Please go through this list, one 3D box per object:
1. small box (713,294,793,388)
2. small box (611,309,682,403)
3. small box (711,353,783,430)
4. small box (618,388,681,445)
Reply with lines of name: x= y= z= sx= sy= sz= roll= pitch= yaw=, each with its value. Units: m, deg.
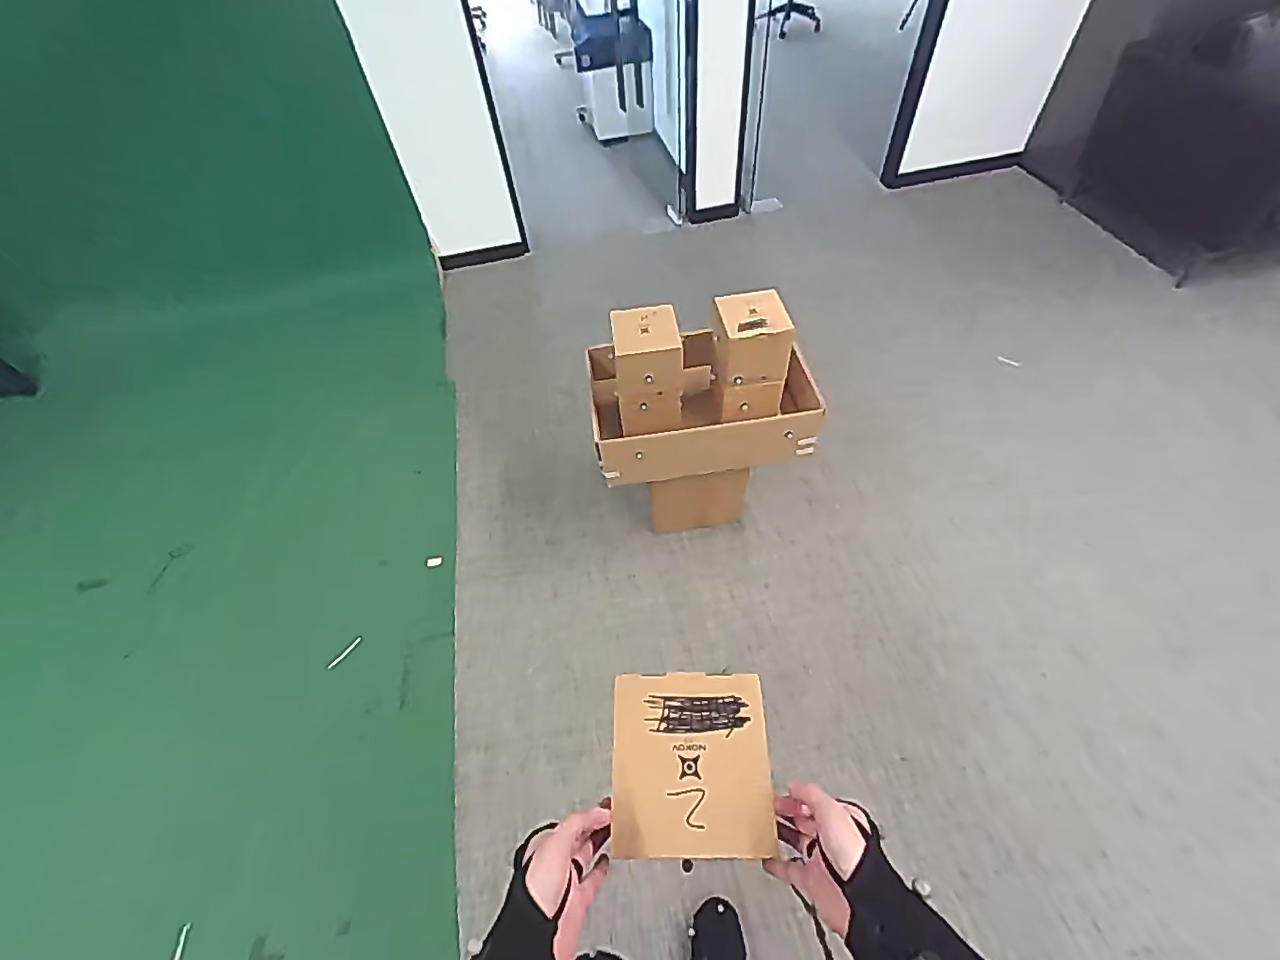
small box: x=0.291 y=-0.359 z=1.426 sx=0.168 sy=0.176 sz=0.179 roll=-8 pitch=52 yaw=-1
small box: x=0.018 y=-0.317 z=1.417 sx=0.168 sy=0.176 sz=0.179 roll=-7 pitch=53 yaw=-1
small box: x=0.302 y=-0.259 z=1.557 sx=0.168 sy=0.176 sz=0.179 roll=-8 pitch=52 yaw=-1
small box: x=0.026 y=-0.225 z=1.552 sx=0.168 sy=0.176 sz=0.179 roll=-7 pitch=52 yaw=1
